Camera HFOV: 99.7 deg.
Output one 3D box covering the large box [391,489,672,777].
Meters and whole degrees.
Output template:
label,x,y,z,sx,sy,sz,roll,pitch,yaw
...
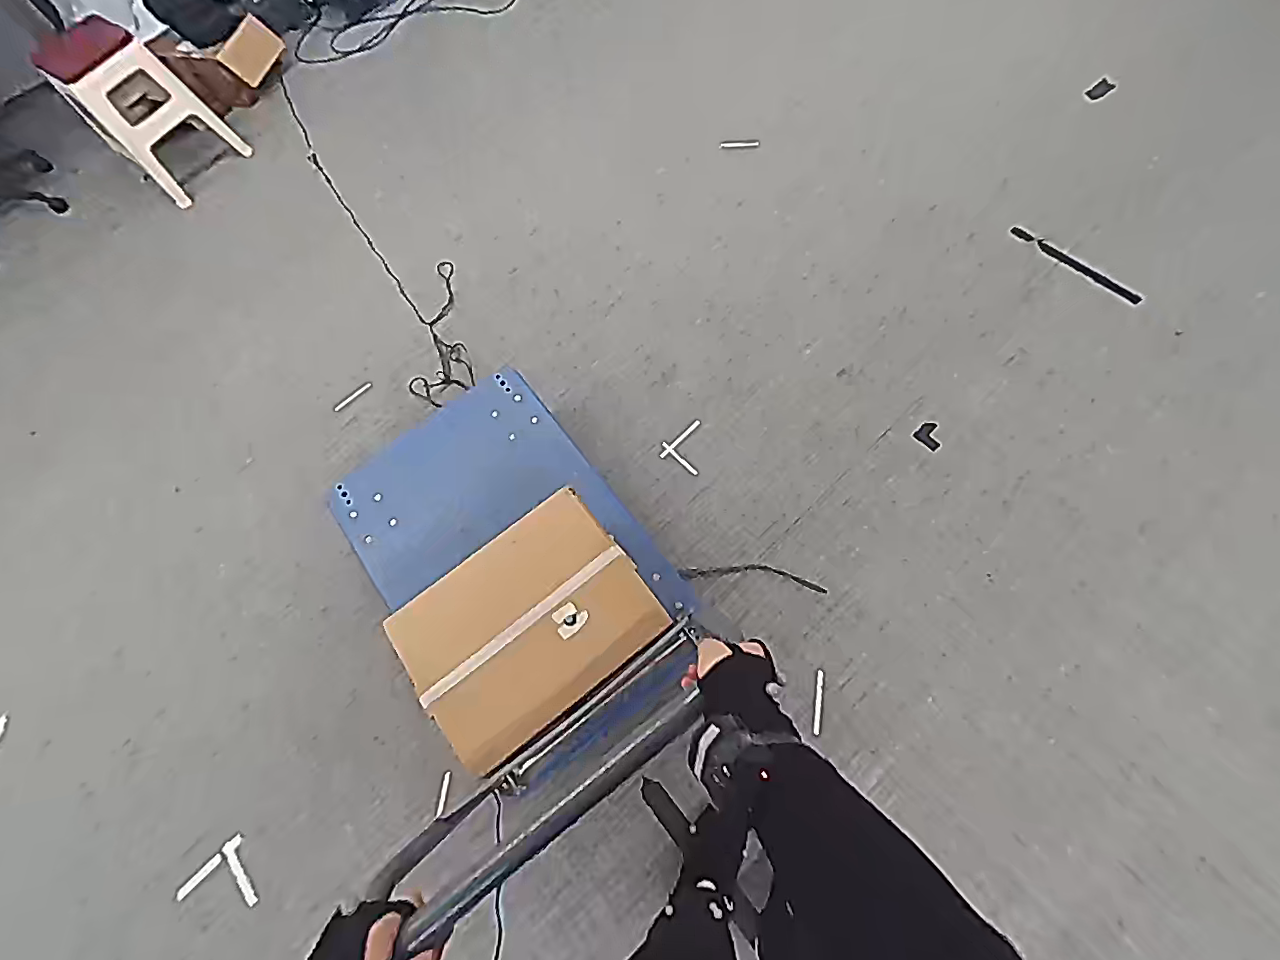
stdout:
label,x,y,z,sx,sy,sz,roll,pitch,yaw
large box,-0.183,0.294,1.070,0.408,0.320,0.320,-38,74,-8
